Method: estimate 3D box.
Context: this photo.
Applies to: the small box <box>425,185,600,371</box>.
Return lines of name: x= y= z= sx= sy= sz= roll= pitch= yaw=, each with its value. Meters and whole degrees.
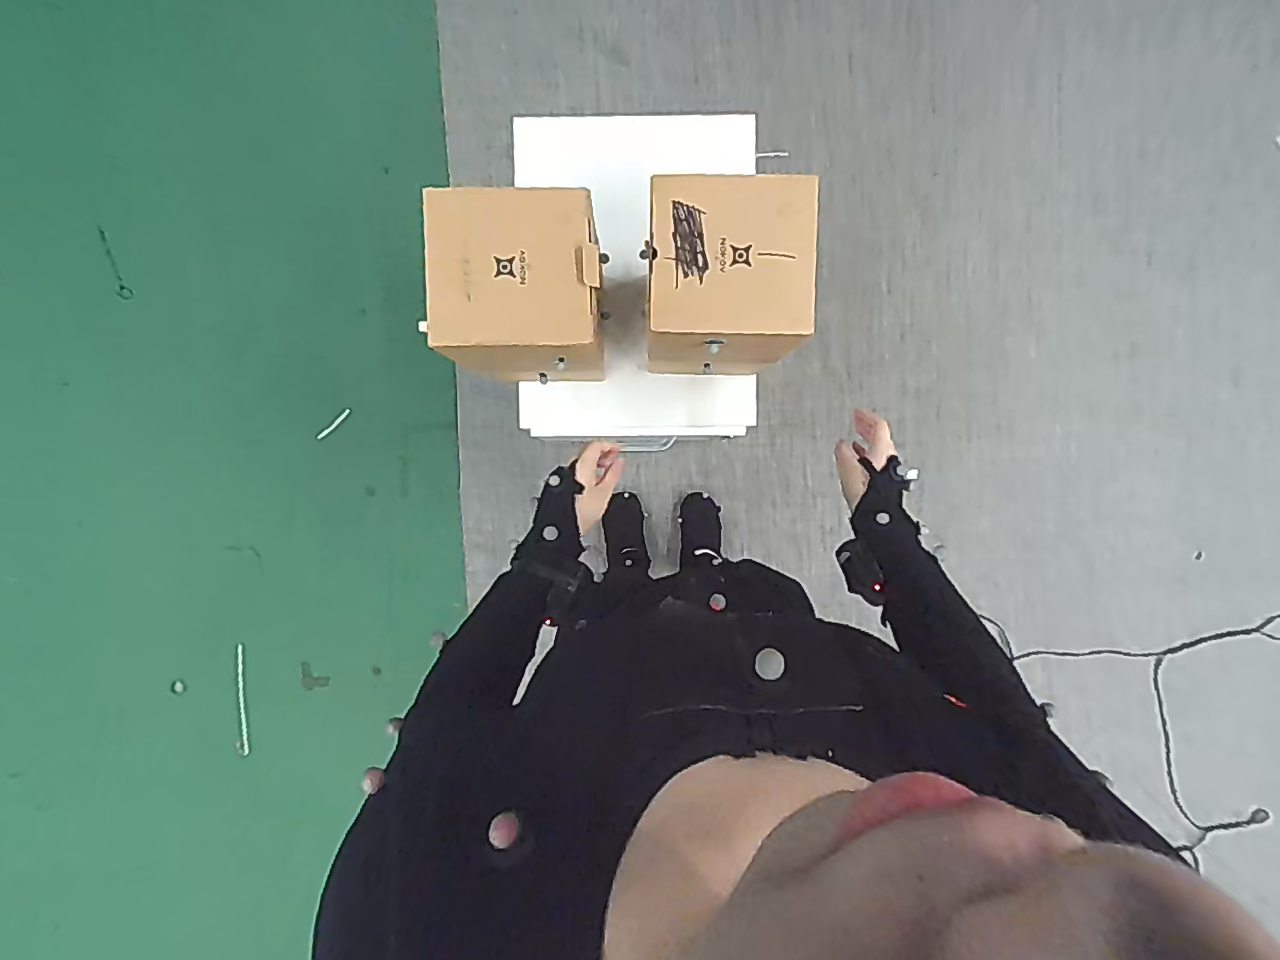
small box: x=-0.137 y=-0.227 z=0.644 sx=0.179 sy=0.176 sz=0.168 roll=-1 pitch=91 yaw=0

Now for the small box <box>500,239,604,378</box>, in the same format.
small box: x=-0.140 y=-0.248 z=0.805 sx=0.168 sy=0.176 sz=0.179 roll=0 pitch=92 yaw=-2

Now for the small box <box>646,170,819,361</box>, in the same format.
small box: x=0.098 y=-0.240 z=0.642 sx=0.179 sy=0.176 sz=0.168 roll=1 pitch=92 yaw=0
